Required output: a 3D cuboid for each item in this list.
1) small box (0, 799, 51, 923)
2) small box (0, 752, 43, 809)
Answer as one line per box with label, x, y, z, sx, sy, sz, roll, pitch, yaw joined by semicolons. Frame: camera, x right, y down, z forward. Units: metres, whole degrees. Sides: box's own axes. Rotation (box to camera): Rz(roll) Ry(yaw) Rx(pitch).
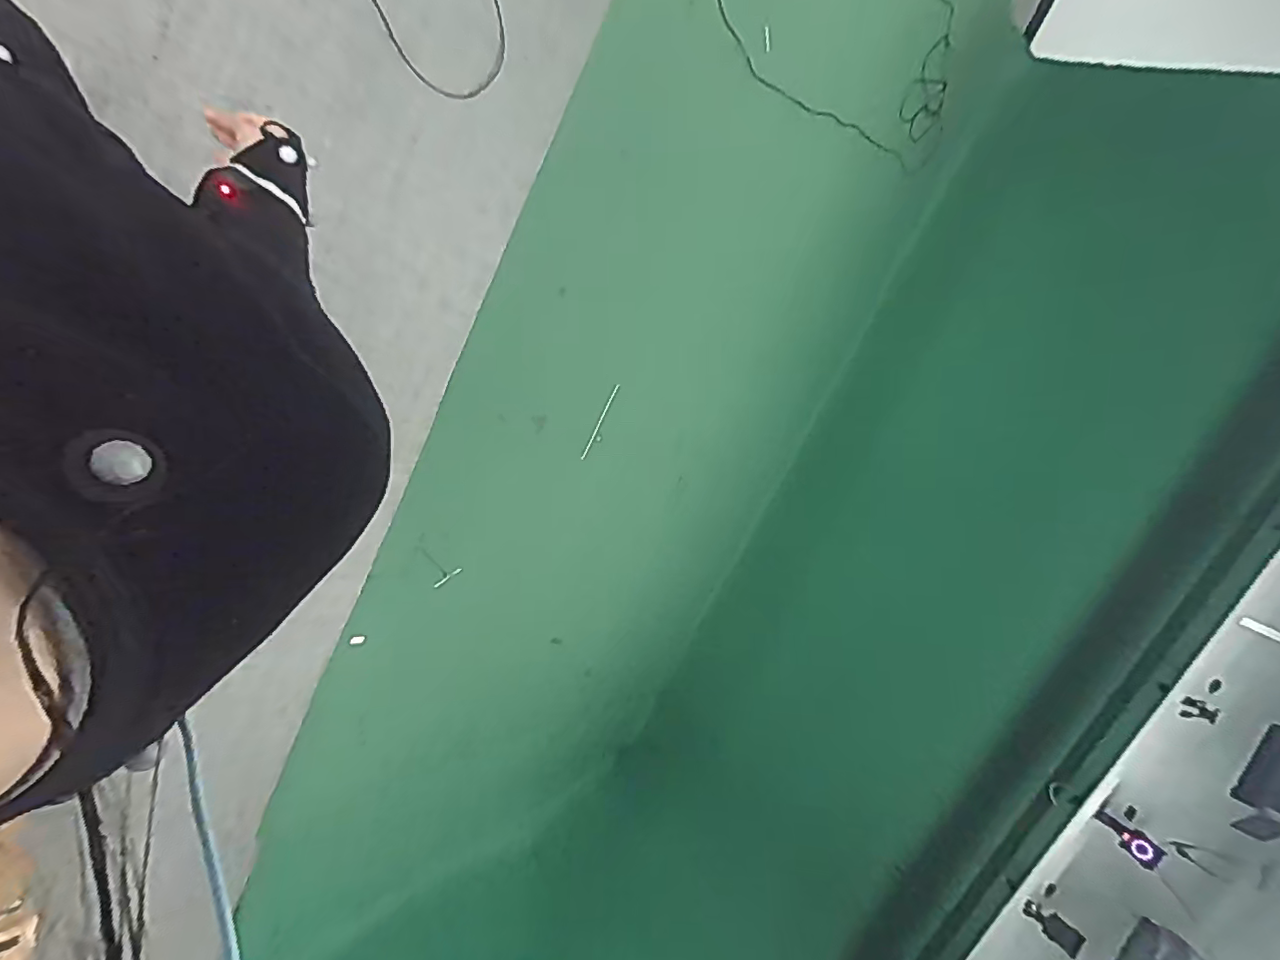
small box;-1.416;0.838;1.161;0.179;0.176;0.168;5;113;-56
small box;-1.536;0.776;1.253;0.179;0.176;0.168;4;113;-55
